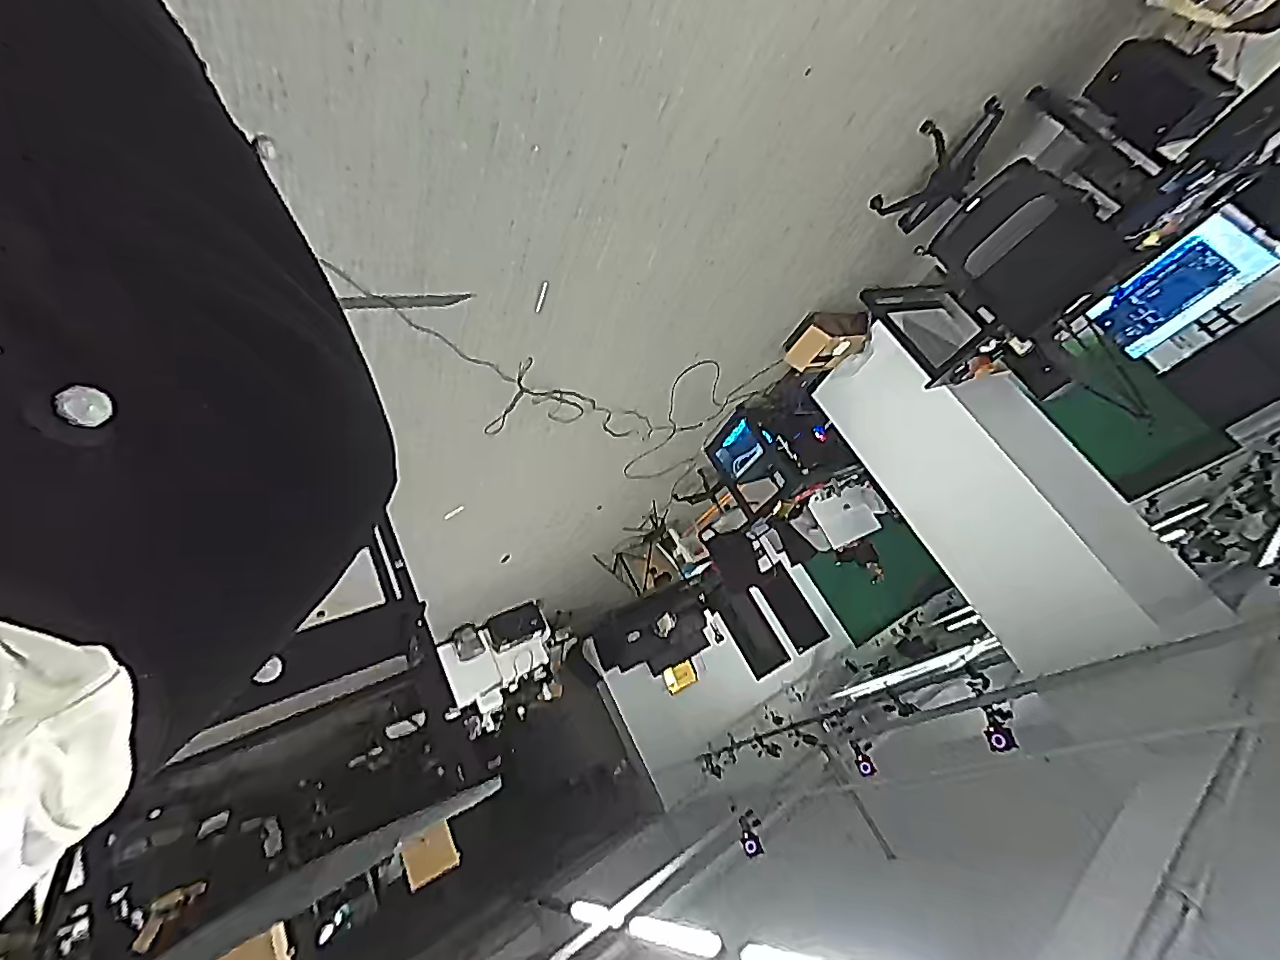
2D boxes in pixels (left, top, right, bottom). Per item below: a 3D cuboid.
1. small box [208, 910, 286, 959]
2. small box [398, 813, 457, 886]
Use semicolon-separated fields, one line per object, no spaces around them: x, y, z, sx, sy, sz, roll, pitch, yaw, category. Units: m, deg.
-1.293;1.564;1.781;0.168;0.176;0.179;-17;156;-33;small box
-0.826;1.426;2.090;0.179;0.176;0.168;-16;155;-31;small box
